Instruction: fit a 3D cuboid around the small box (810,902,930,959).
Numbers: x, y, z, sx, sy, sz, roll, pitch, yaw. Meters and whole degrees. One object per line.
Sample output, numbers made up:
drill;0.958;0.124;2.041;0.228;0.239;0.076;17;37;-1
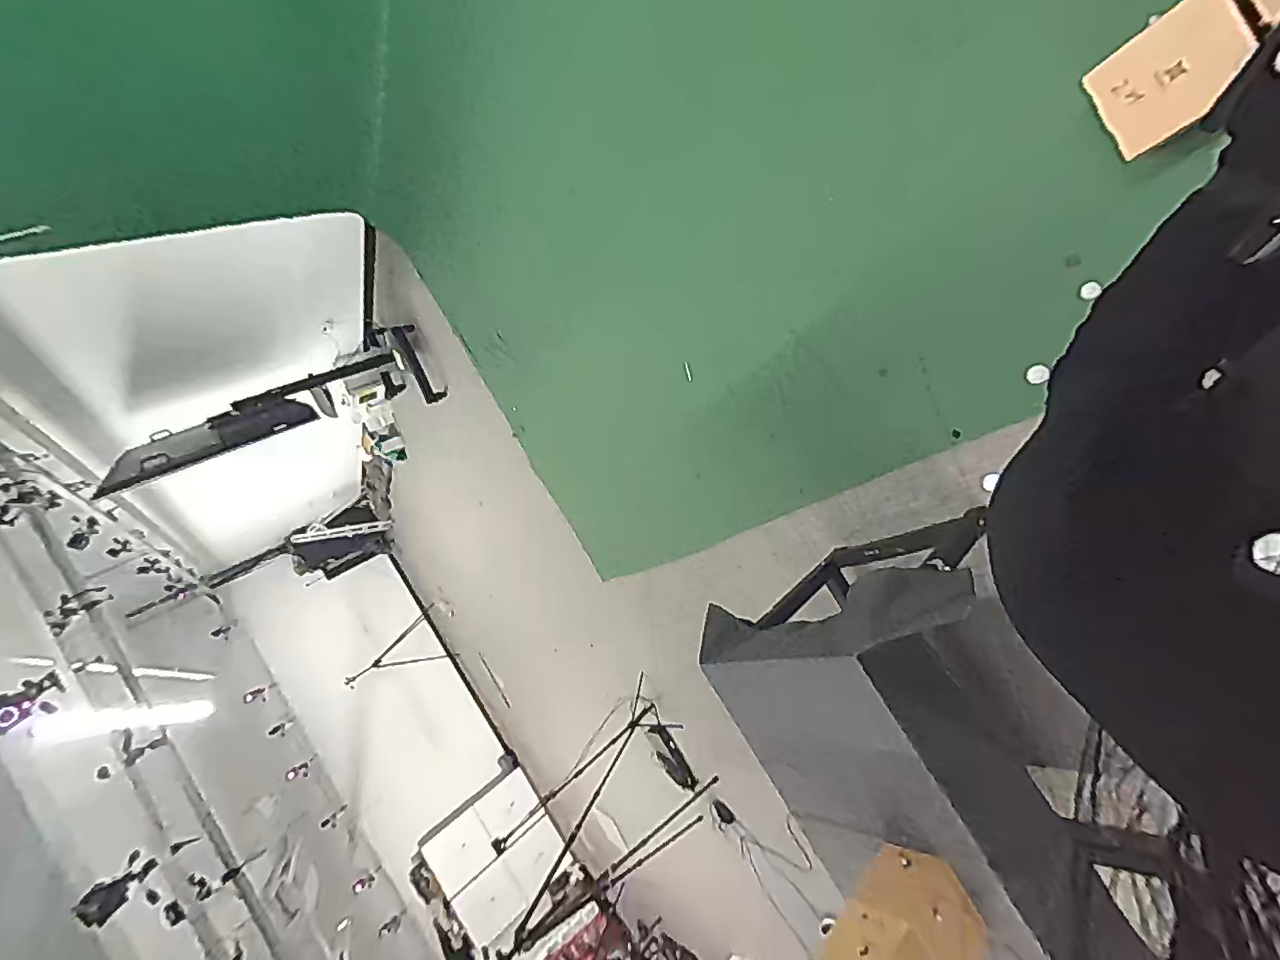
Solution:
small box;0.493;1.025;1.110;0.179;0.176;0.168;58;147;4
